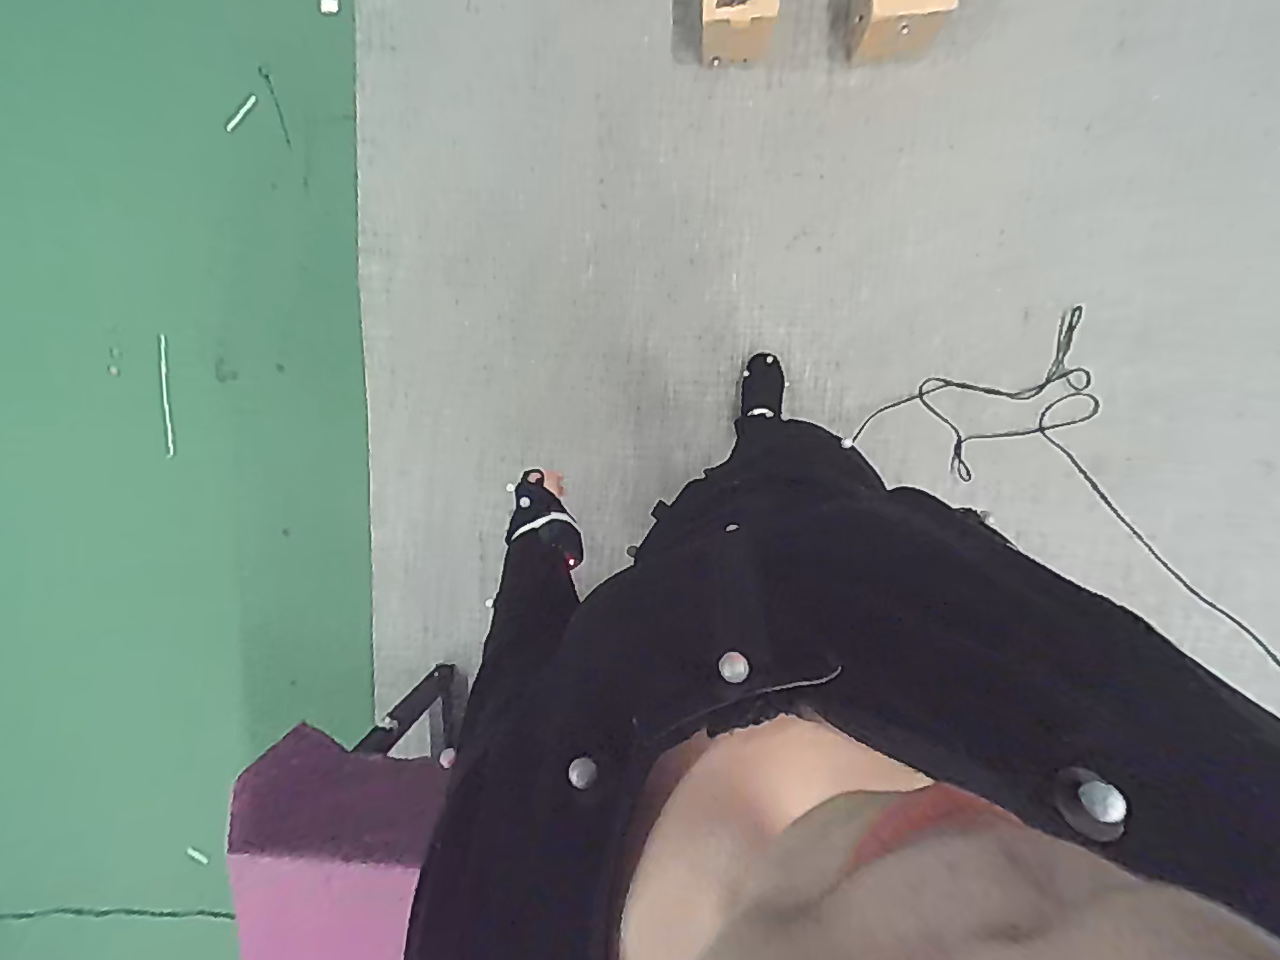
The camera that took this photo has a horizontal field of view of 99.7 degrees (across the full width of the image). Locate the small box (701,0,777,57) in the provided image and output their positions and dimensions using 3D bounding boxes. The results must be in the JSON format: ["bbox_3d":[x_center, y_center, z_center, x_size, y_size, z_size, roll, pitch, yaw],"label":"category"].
[{"bbox_3d":[0.227,-1.104,1.235,0.168,0.176,0.179,3,98,7],"label":"small box"}]

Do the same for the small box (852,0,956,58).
[{"bbox_3d":[0.578,-1.074,1.195,0.179,0.176,0.168,0,99,7],"label":"small box"}]
